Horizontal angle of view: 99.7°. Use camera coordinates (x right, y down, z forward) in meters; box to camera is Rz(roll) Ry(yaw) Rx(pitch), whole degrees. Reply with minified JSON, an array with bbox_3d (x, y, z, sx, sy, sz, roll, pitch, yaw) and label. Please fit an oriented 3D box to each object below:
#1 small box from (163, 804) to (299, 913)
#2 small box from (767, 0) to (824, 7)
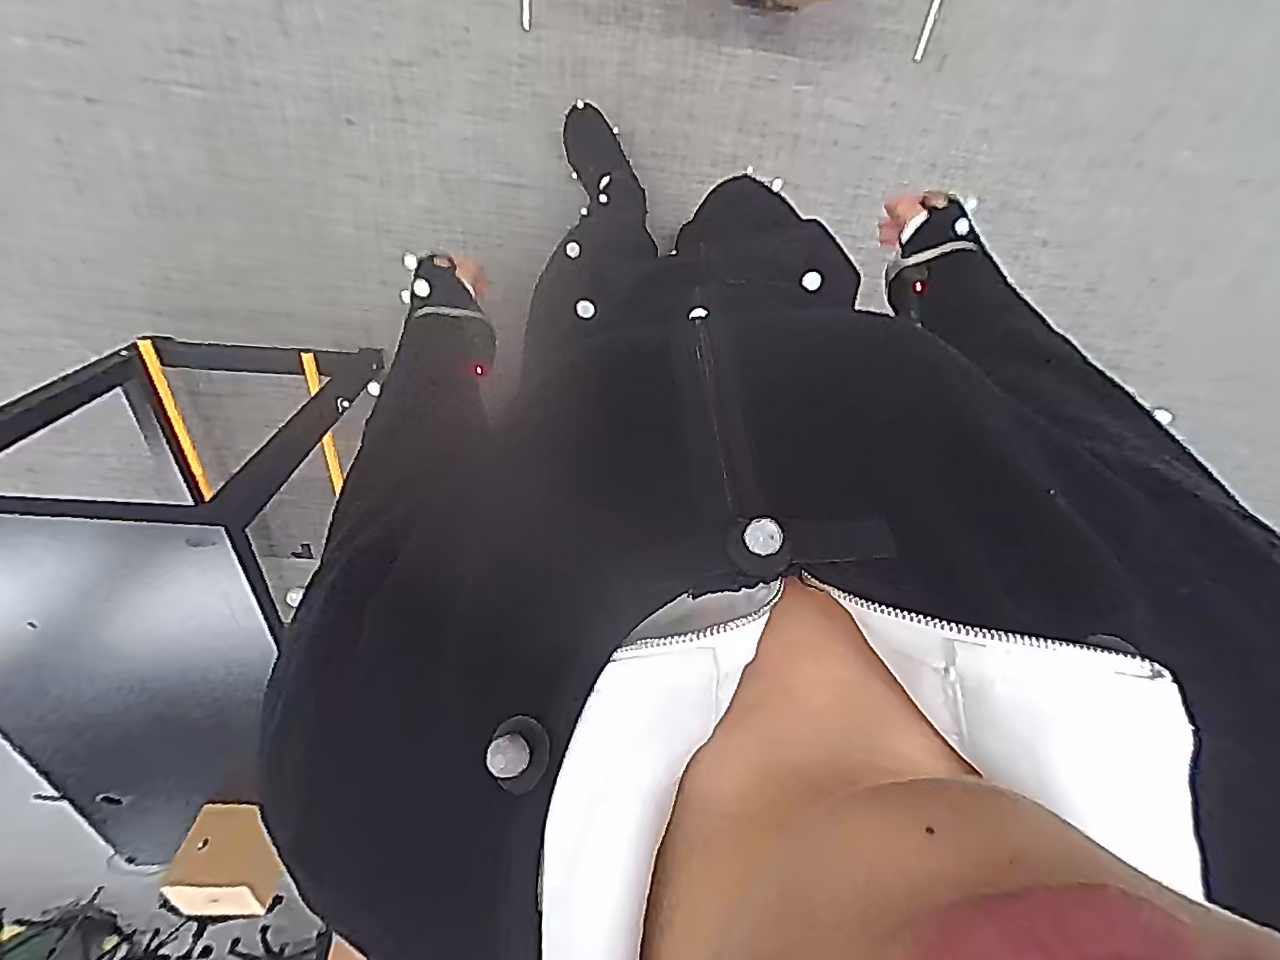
[{"bbox_3d":[-0.938,0.877,1.259,0.179,0.176,0.168,4,125,-7],"label":"small box"},{"bbox_3d":[0.255,-0.956,0.941,0.168,0.176,0.179,5,126,-7],"label":"small box"}]
